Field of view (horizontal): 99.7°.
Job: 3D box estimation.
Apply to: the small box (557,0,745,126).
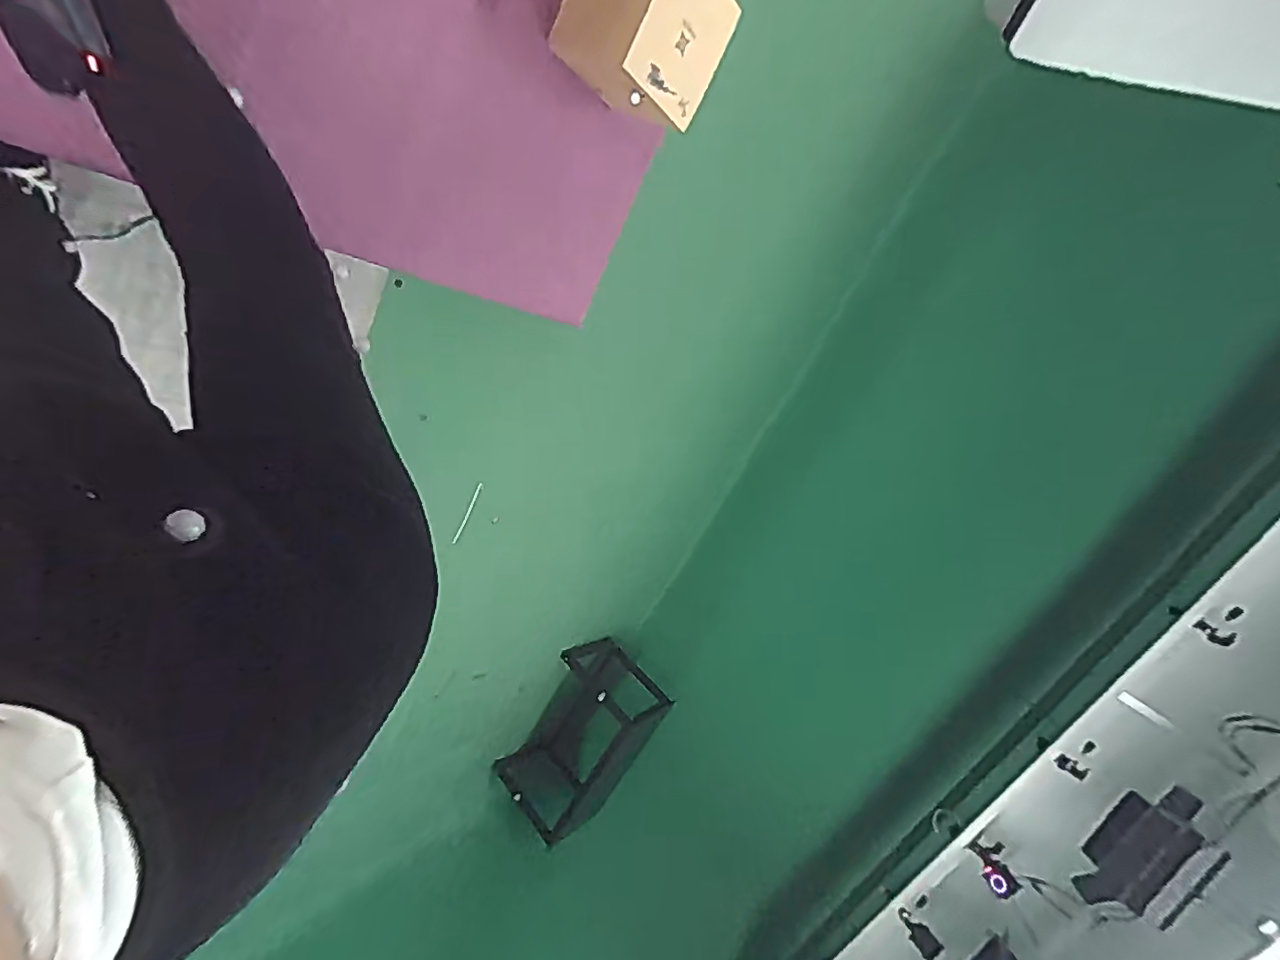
[{"bbox_3d":[0.011,-0.654,0.767,0.168,0.176,0.179,2,122,-55],"label":"small box"}]
